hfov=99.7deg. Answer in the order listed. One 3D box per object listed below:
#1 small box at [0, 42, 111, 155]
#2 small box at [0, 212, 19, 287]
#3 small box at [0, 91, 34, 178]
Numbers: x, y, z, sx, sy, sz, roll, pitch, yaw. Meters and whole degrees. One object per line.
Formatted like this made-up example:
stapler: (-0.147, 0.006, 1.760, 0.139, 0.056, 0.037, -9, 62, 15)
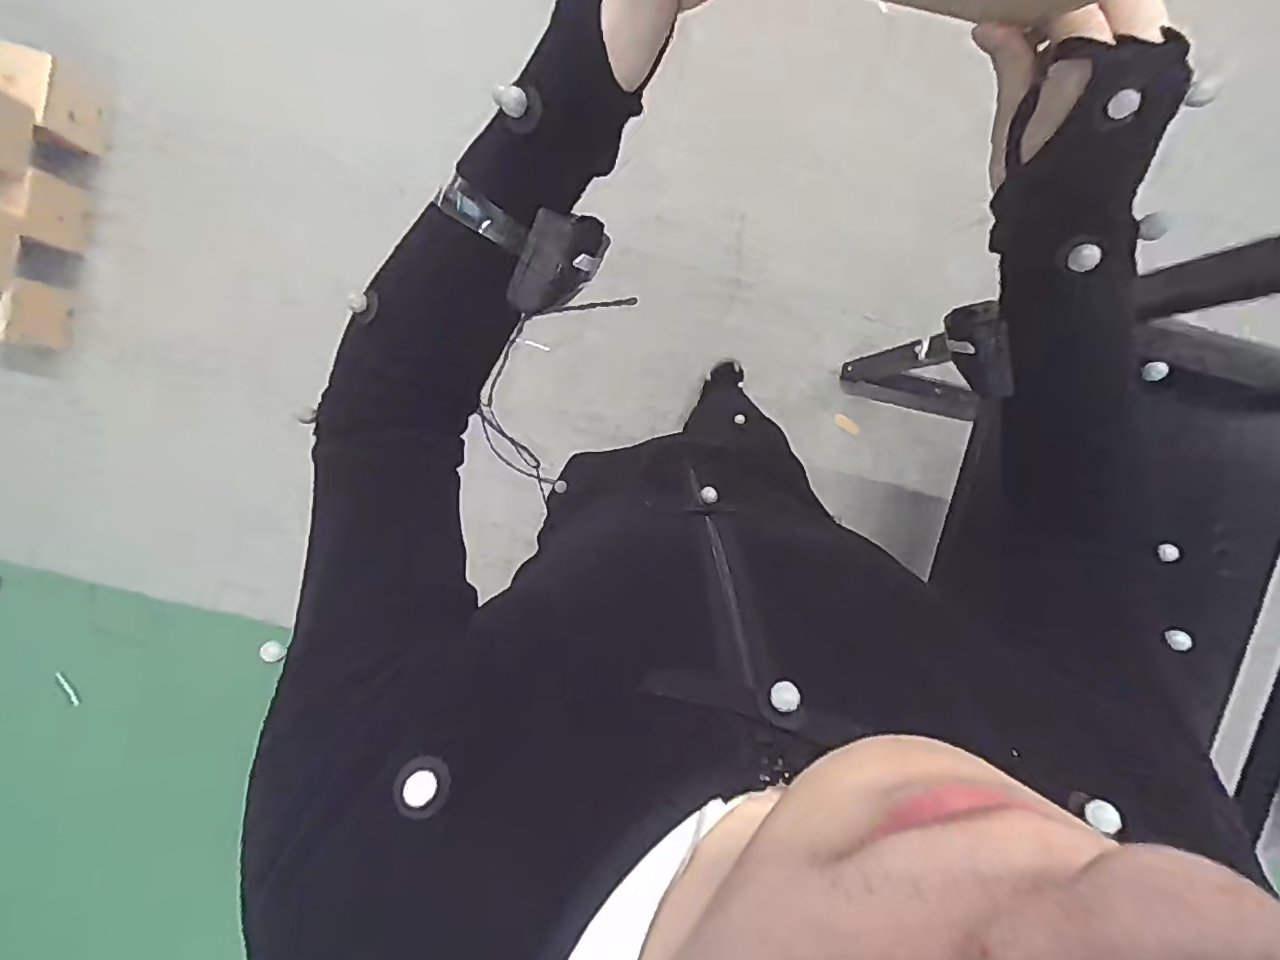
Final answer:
small box: (-1.519, -0.966, 1.379, 0.179, 0.176, 0.168, 15, 94, -4)
small box: (-1.606, -0.571, 1.241, 0.168, 0.176, 0.179, 16, 95, -4)
small box: (-1.551, -0.824, 1.224, 0.168, 0.176, 0.179, 13, 92, -4)
